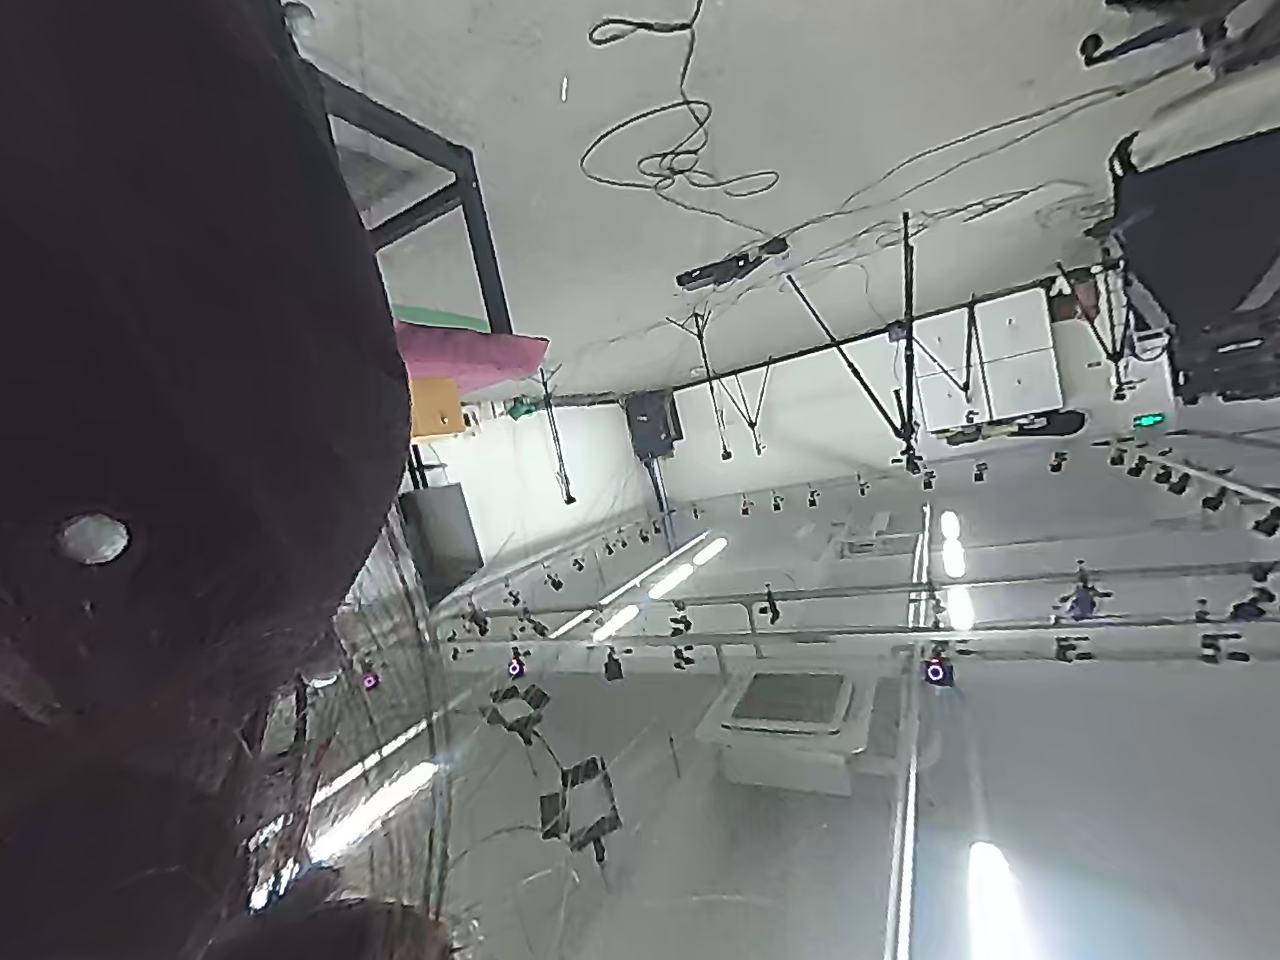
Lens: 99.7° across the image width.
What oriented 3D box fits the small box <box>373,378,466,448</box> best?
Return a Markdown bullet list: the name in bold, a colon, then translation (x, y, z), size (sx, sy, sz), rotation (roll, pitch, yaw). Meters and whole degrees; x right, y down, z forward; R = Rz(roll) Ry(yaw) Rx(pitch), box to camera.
- **small box**: translation (-0.650, -0.200, 1.588), size (0.168, 0.176, 0.179), rotation (-11, -176, 29)
